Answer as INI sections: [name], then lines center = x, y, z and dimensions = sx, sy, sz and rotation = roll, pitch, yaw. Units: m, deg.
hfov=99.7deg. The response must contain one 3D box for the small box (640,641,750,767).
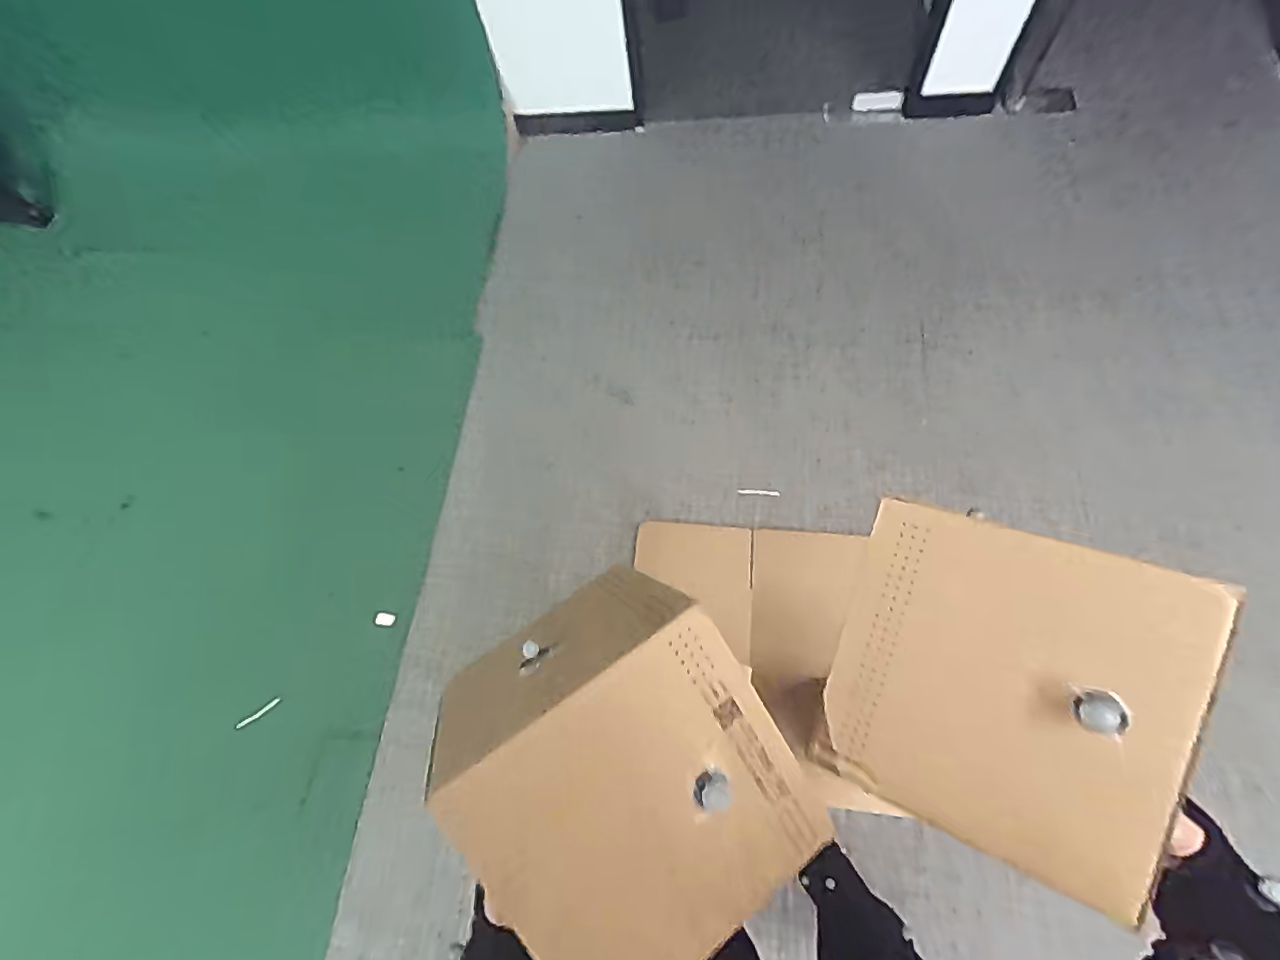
[small box]
center = 0.107, 0.419, 1.027
dimensions = 0.168, 0.176, 0.179
rotation = 12, 71, 9
